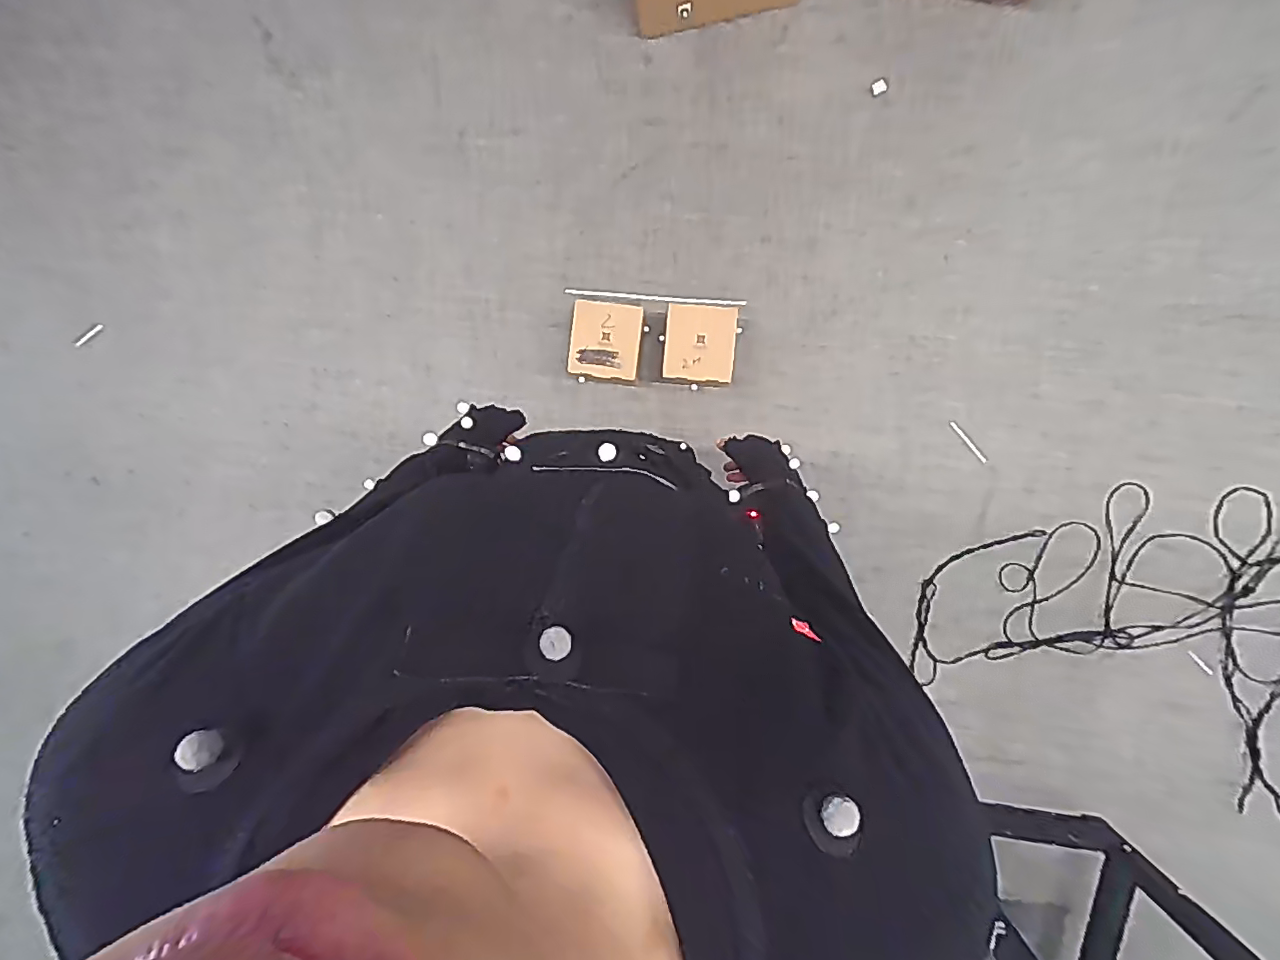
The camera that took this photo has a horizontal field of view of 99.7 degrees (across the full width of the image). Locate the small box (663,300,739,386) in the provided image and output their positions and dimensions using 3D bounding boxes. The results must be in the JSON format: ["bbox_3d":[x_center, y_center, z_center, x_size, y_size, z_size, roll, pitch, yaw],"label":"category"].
[{"bbox_3d":[0.145,-0.334,1.345,0.168,0.176,0.179,5,96,3],"label":"small box"}]
